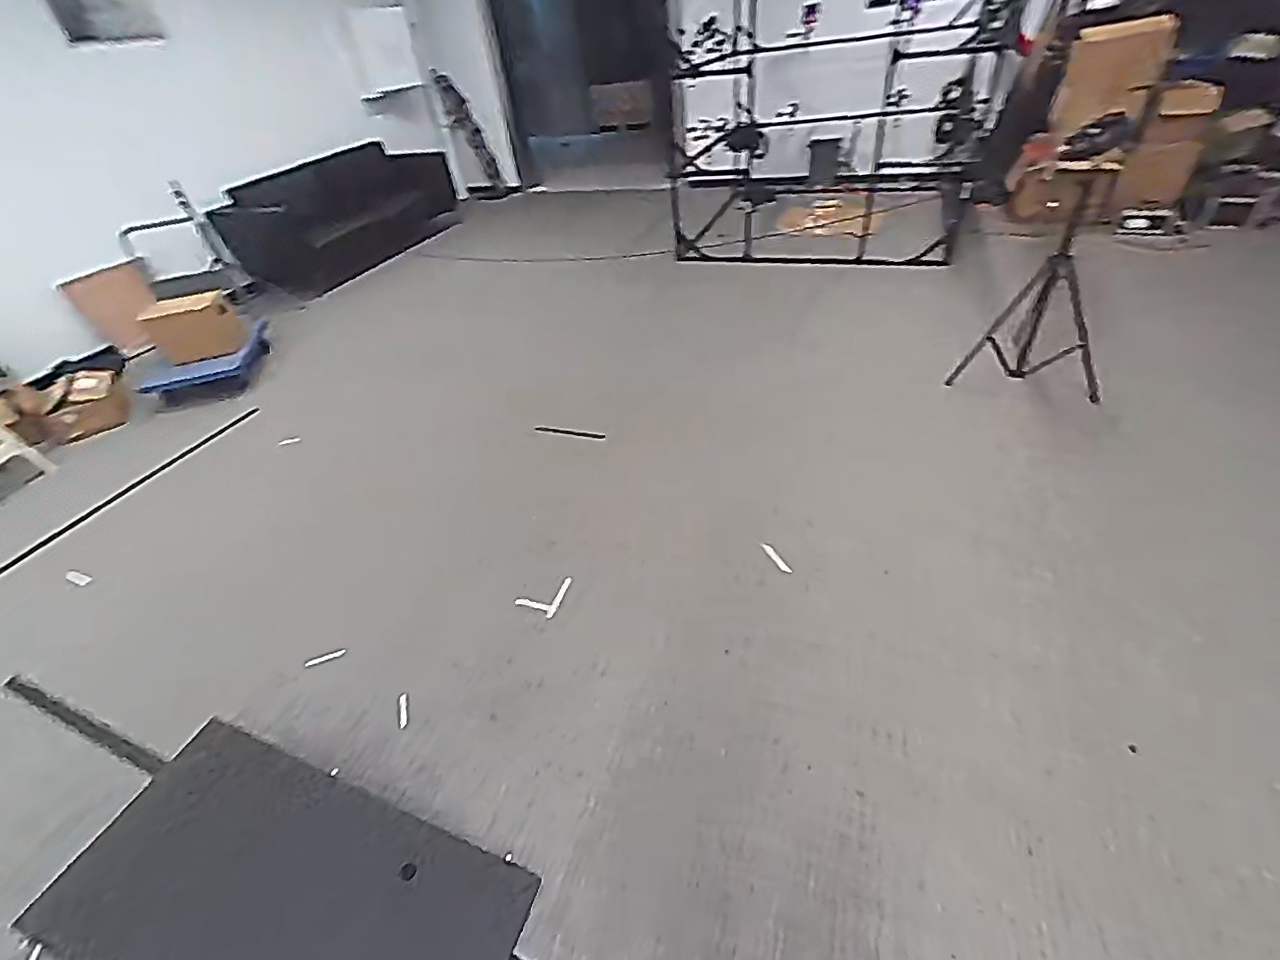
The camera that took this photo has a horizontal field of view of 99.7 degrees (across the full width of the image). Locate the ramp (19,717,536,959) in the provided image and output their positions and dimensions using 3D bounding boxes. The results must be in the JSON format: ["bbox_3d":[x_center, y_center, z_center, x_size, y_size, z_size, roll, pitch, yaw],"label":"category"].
[{"bbox_3d":[-0.785,0.948,1.222,0.991,0.206,0.509,9,41,18],"label":"ramp"}]
